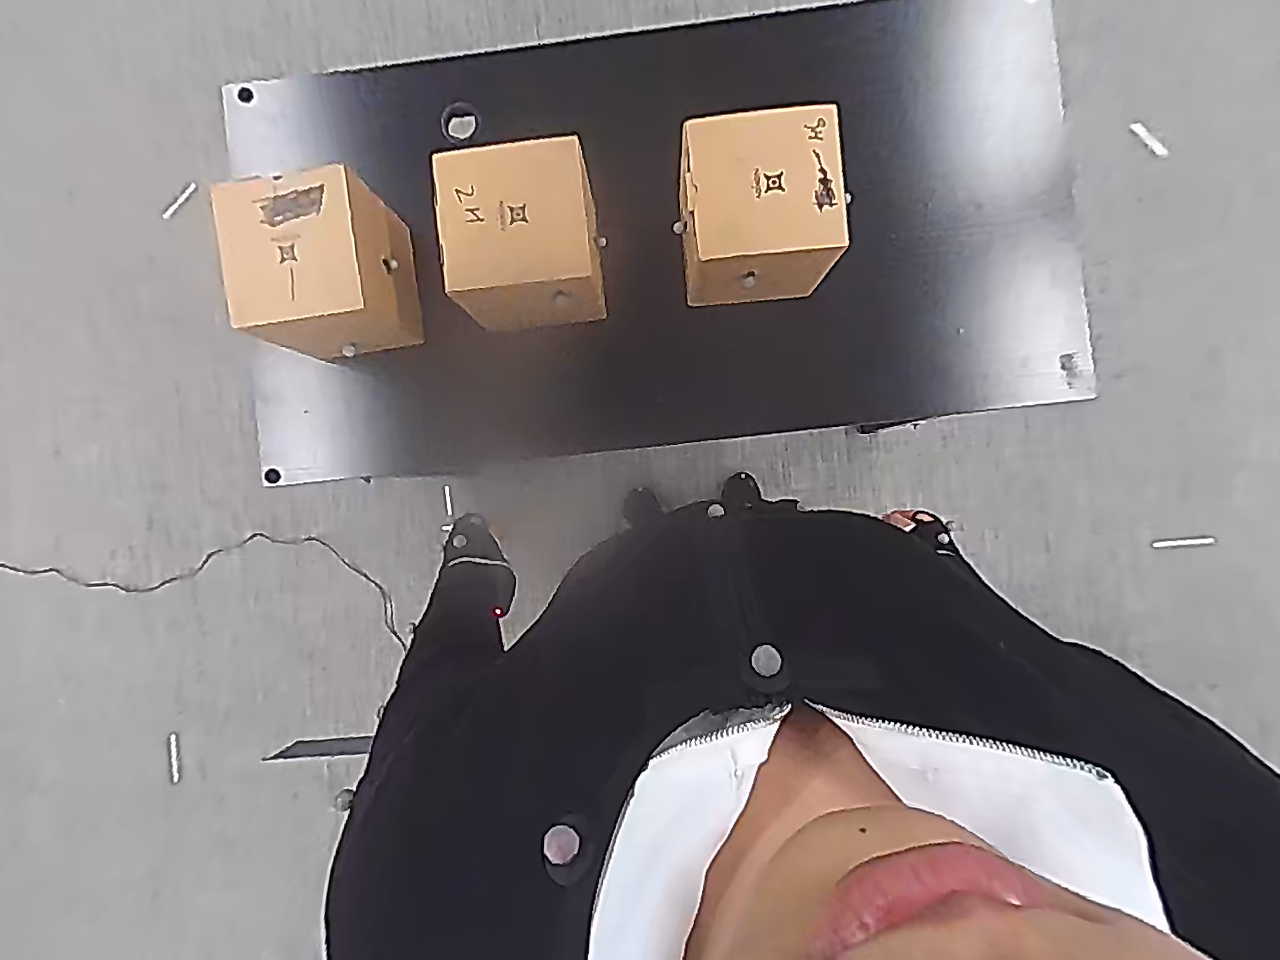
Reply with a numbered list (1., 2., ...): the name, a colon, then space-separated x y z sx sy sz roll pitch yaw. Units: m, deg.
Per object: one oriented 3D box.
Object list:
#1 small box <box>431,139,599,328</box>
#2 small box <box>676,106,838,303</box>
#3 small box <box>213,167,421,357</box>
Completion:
1. small box: -0.150 -0.310 0.713 0.179 0.176 0.168 -6 90 3
2. small box: 0.140 -0.341 0.703 0.179 0.176 0.168 -5 90 3
3. small box: -0.416 -0.277 0.723 0.168 0.176 0.179 -8 91 2
